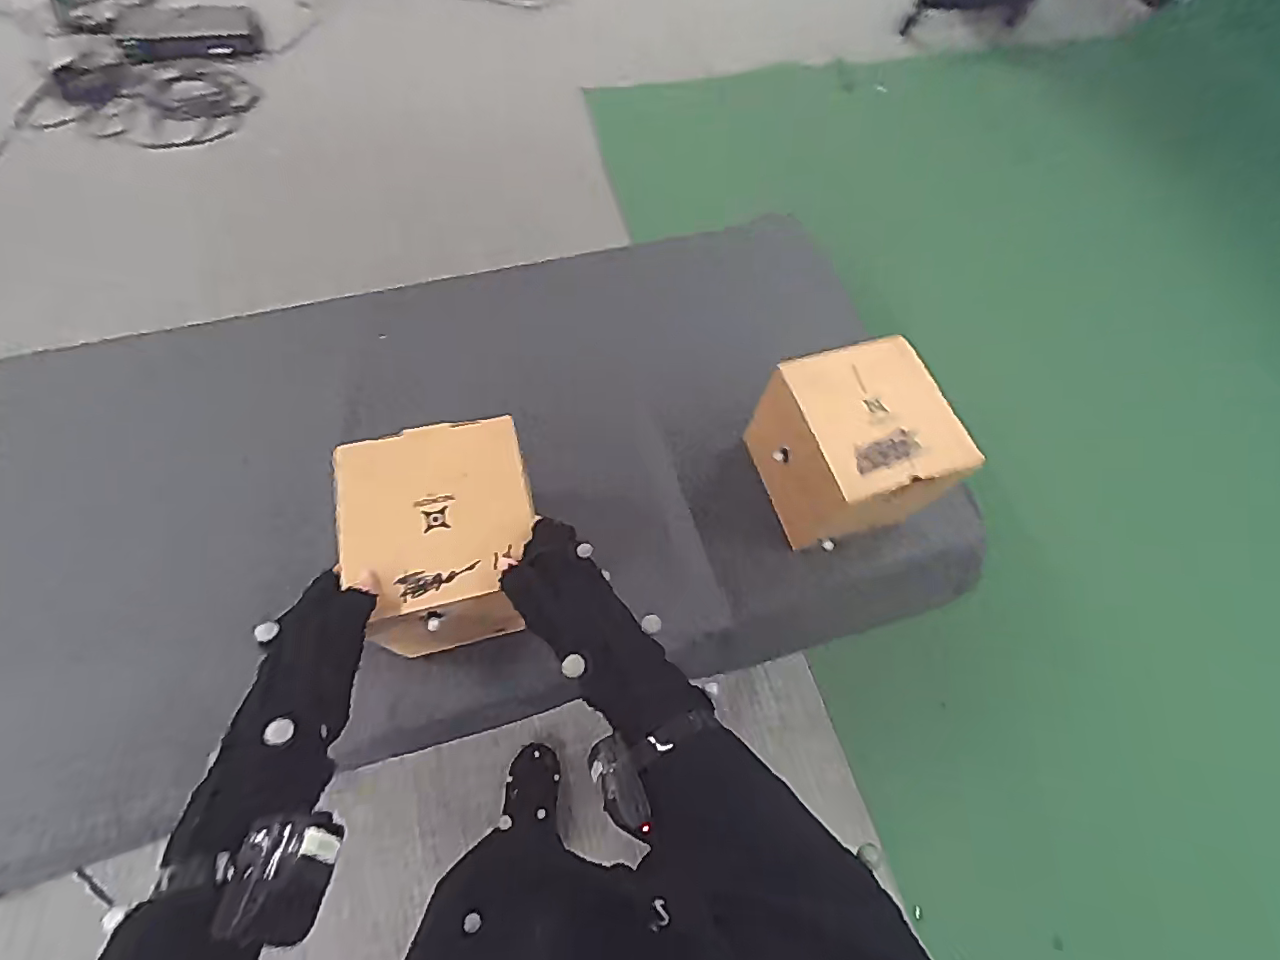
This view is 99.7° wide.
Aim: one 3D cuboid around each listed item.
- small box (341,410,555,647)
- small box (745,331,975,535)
[{"bbox_3d":[-0.186,0.056,0.554,0.168,0.176,0.179,-12,67,-10],"label":"small box"},{"bbox_3d":[0.247,-0.046,0.657,0.168,0.176,0.179,-15,67,-10],"label":"small box"}]
